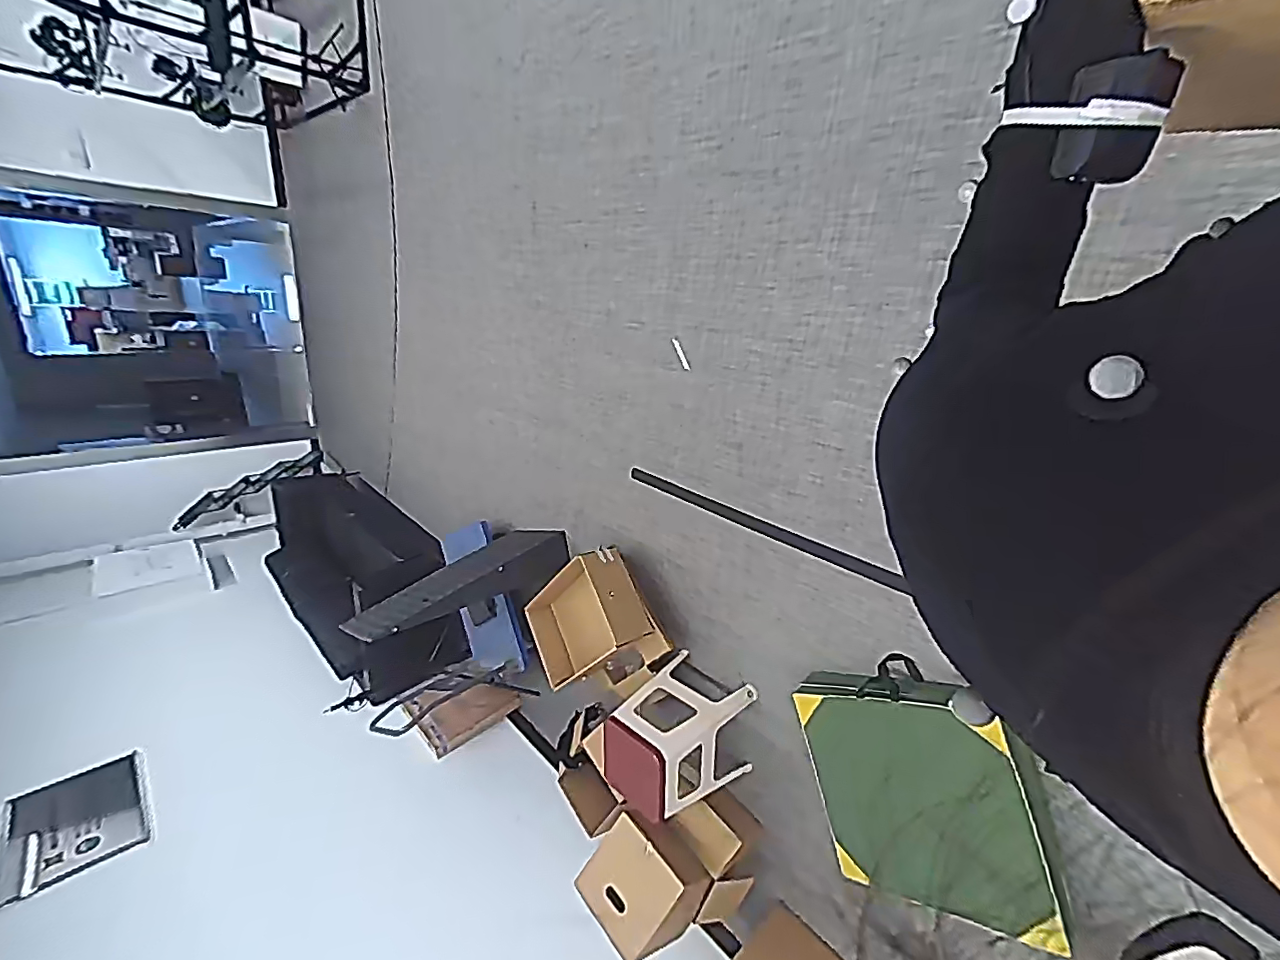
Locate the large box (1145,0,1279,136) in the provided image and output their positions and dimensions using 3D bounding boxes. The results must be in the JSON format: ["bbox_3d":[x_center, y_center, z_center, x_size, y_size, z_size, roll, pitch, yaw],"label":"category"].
[{"bbox_3d":[0.549,-0.380,0.243,0.408,0.320,0.320,25,119,38],"label":"large box"}]
